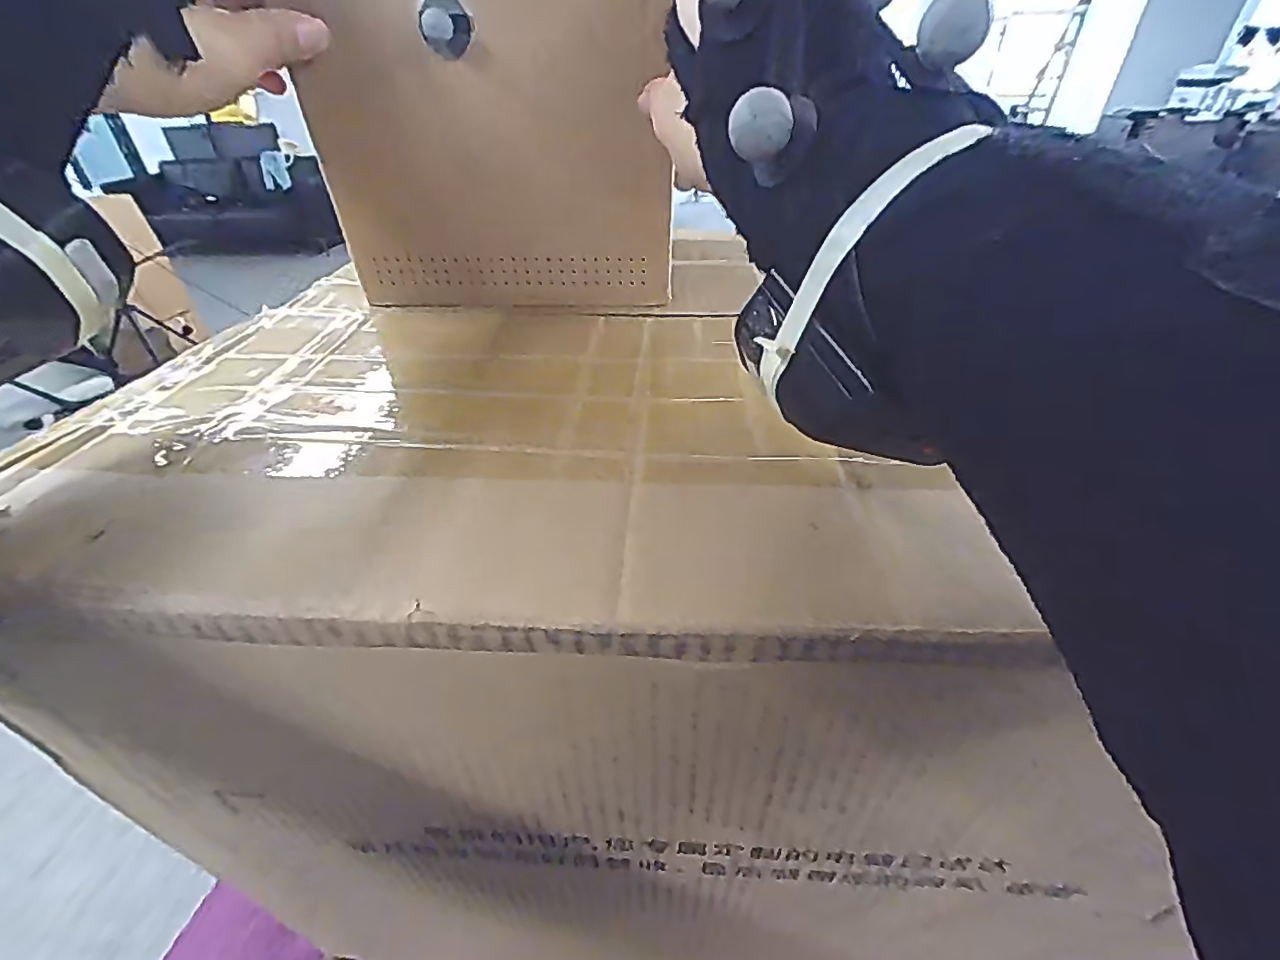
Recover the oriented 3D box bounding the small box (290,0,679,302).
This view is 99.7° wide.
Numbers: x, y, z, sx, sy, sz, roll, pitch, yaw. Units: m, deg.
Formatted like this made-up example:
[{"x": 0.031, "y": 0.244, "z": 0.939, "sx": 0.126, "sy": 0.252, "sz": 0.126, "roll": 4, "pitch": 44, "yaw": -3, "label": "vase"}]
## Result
[{"x": -0.068, "y": -0.214, "z": 0.316, "sx": 0.179, "sy": 0.176, "sz": 0.168, "roll": 1, "pitch": 40, "yaw": 1, "label": "small box"}]
